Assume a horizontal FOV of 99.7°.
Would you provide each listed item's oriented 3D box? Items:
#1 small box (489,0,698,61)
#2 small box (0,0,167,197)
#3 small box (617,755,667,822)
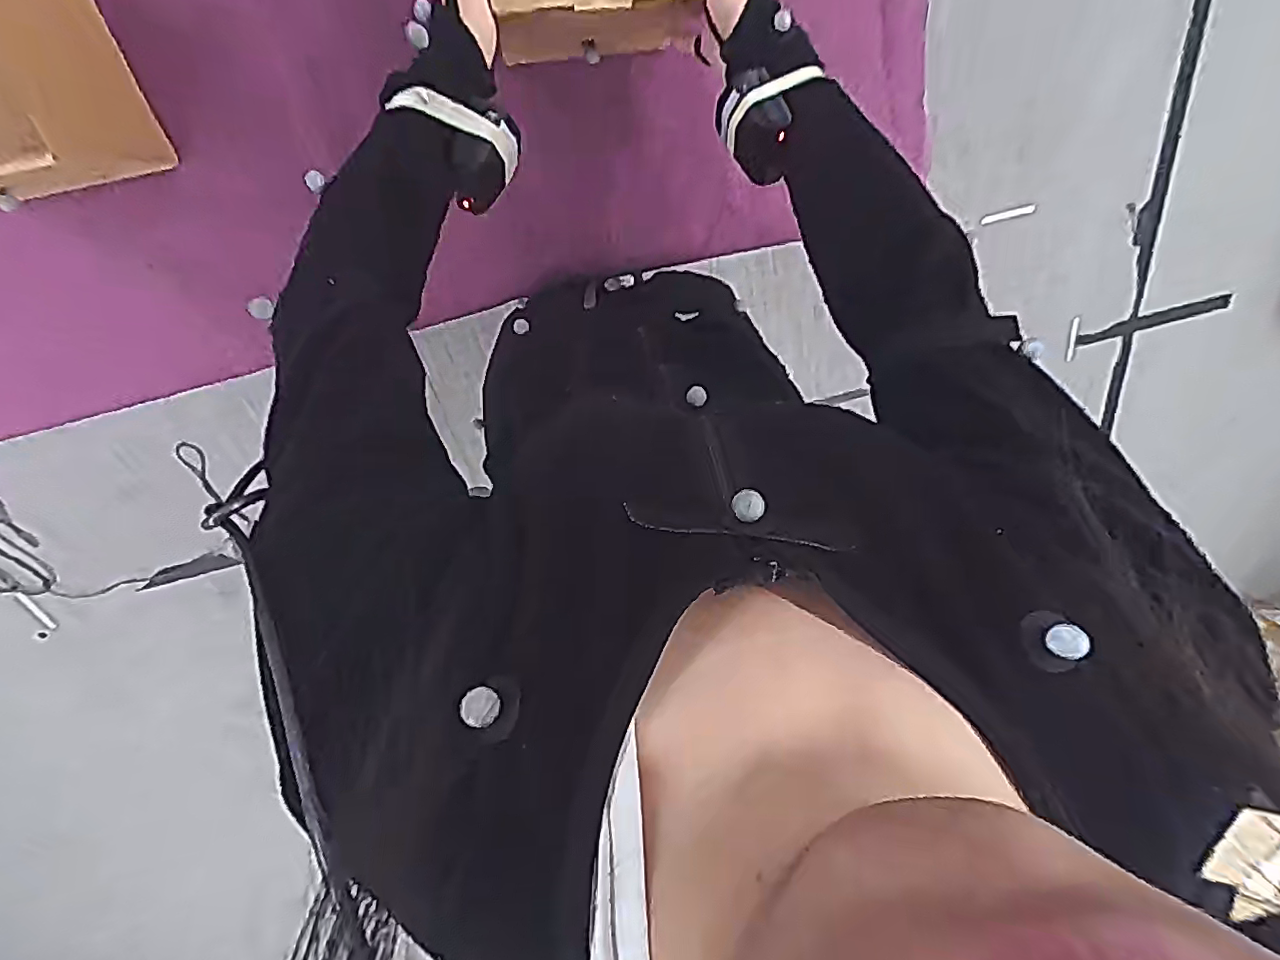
[{"bbox_3d":[-0.051,-0.467,0.430,0.168,0.176,0.179,-10,118,-5],"label":"small box"},{"bbox_3d":[-0.536,-0.326,0.418,0.168,0.176,0.179,-14,120,-3],"label":"small box"},{"bbox_3d":[0.007,1.264,2.229,0.168,0.176,0.179,-13,120,-2],"label":"small box"}]
